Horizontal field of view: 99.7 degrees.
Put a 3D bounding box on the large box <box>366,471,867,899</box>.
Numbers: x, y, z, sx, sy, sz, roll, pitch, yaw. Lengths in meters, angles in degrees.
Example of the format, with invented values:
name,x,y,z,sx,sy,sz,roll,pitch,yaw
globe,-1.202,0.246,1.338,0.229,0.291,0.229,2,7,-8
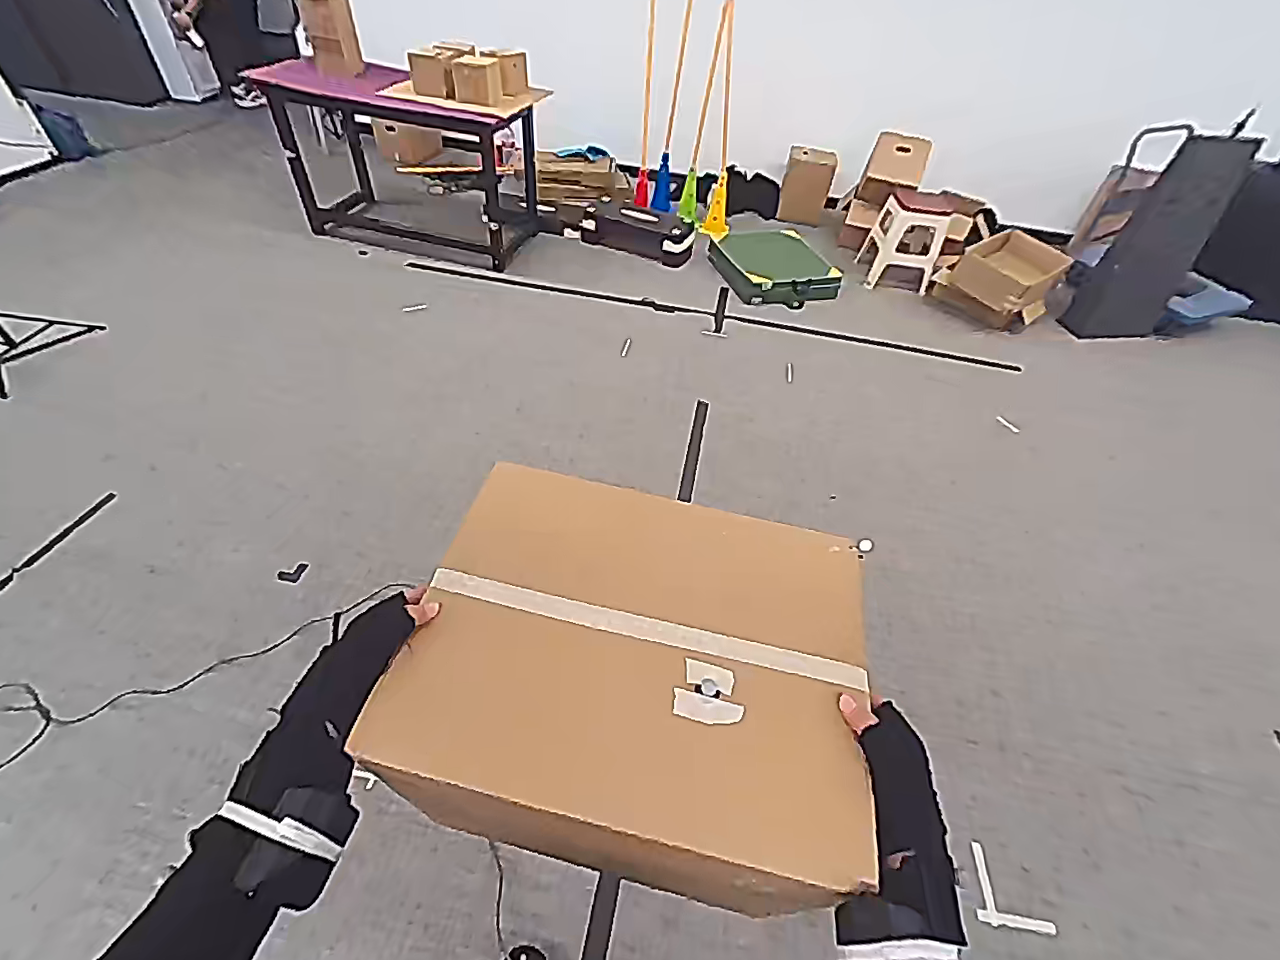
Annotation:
name,x,y,z,sx,sy,sz,roll,pitch,yaw
large box,-0.009,0.235,0.620,0.408,0.320,0.320,13,50,4
